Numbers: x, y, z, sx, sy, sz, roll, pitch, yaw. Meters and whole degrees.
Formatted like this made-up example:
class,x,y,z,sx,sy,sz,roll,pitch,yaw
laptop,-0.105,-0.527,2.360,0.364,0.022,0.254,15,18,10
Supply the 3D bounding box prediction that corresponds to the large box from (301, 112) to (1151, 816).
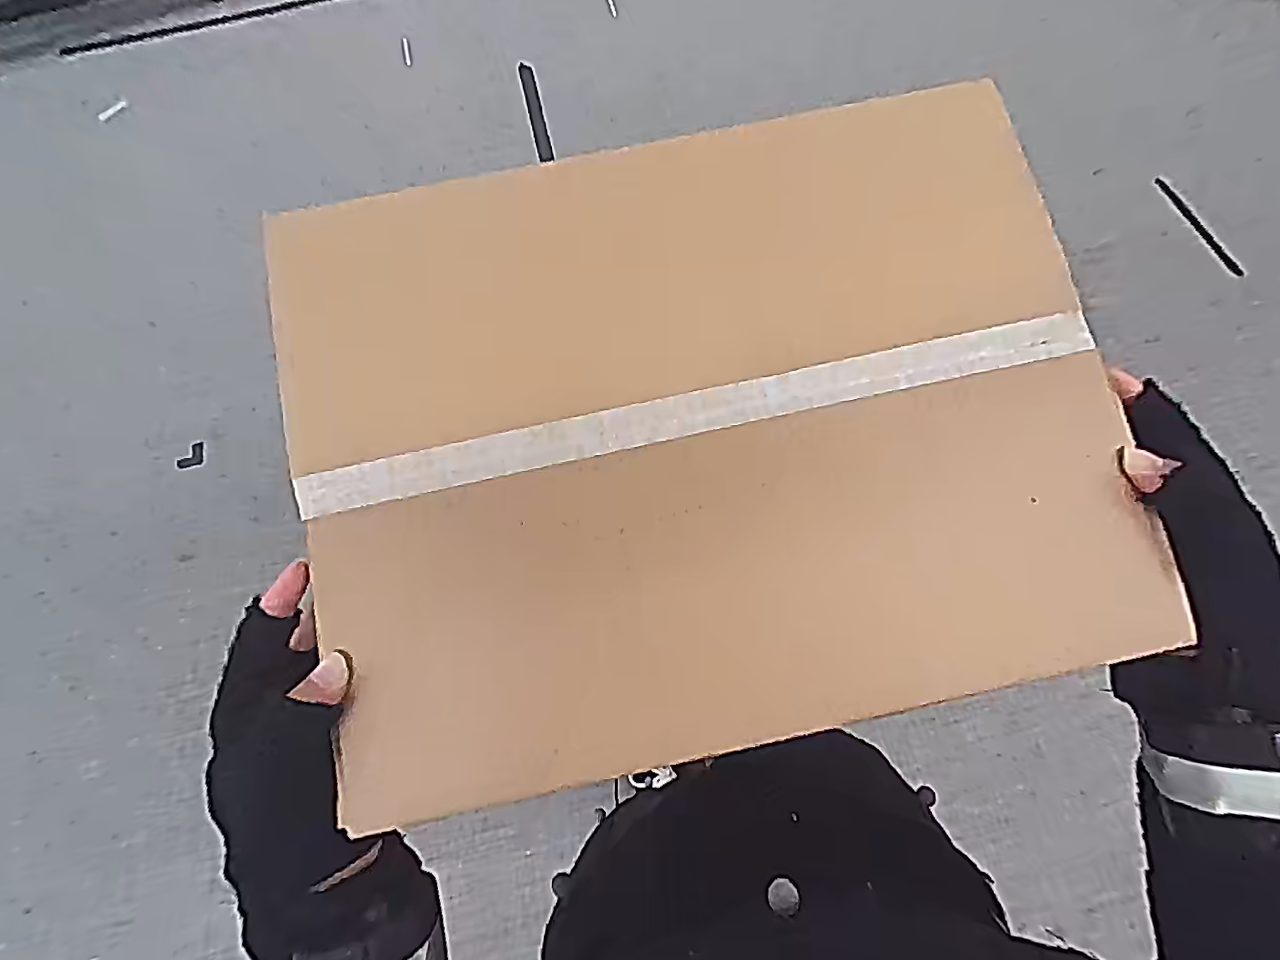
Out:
class,x,y,z,sx,sy,sz,roll,pitch,yaw
large box,0.032,-0.003,0.435,0.408,0.320,0.320,-12,82,-2
